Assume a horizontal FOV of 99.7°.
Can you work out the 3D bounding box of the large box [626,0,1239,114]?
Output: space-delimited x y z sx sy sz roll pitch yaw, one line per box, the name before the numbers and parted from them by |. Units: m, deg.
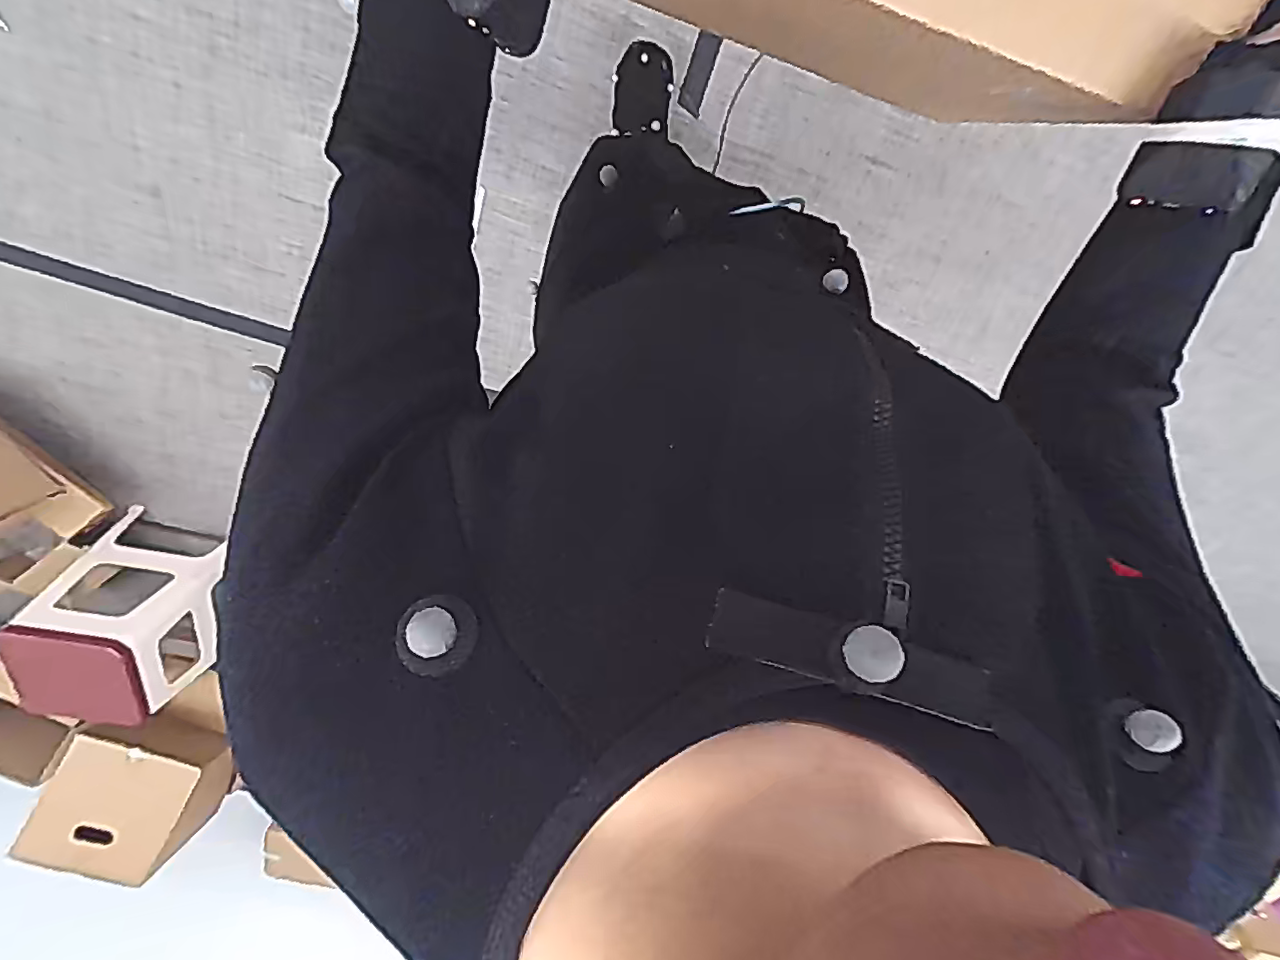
large box | 0.178 -0.479 0.353 0.408 0.320 0.320 14 124 -9
